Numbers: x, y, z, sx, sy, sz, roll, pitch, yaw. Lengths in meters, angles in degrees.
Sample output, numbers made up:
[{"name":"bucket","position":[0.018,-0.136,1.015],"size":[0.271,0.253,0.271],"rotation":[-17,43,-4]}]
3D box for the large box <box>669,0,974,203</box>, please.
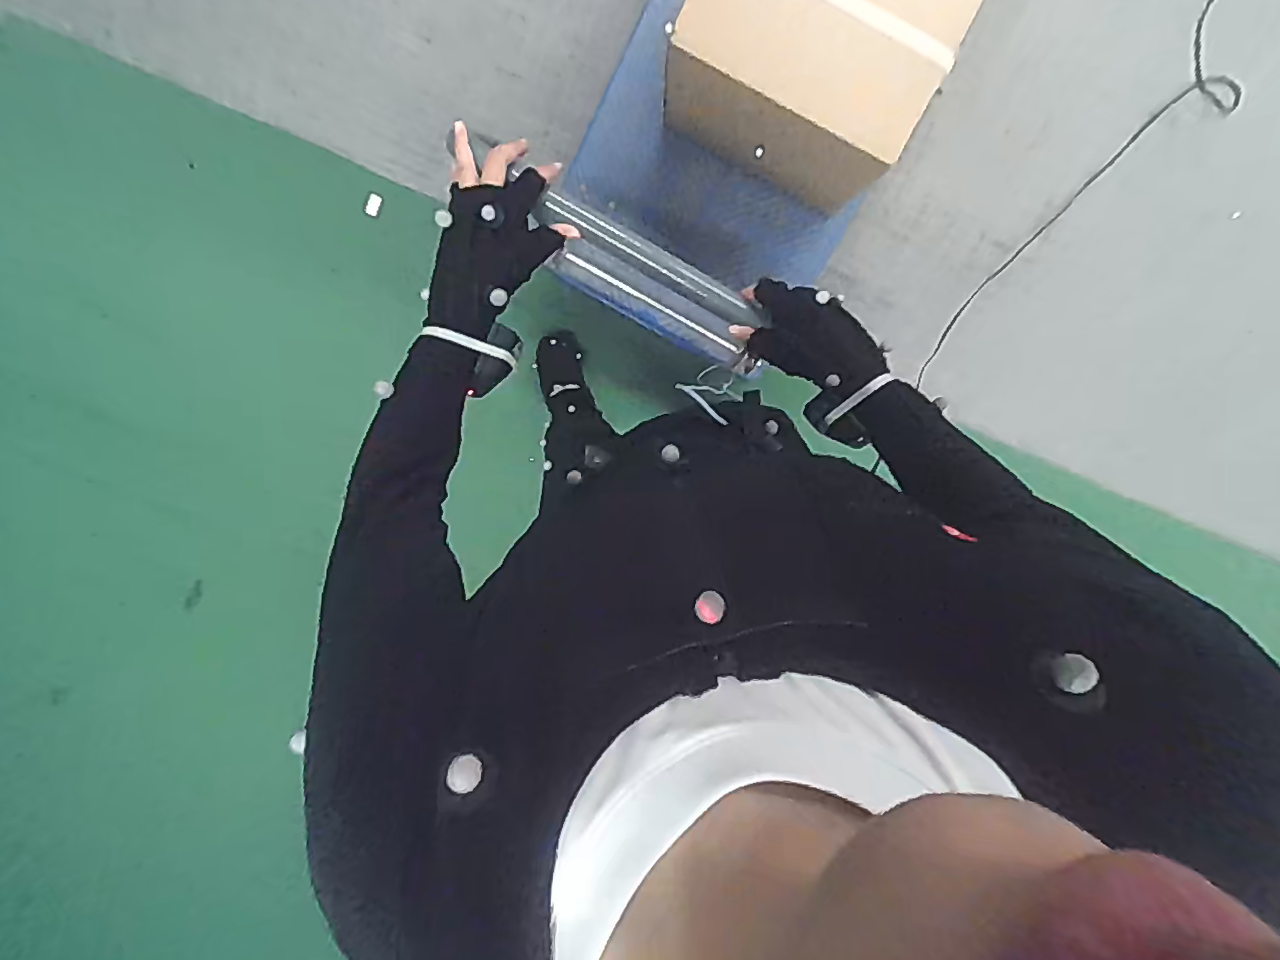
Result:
[{"name":"large box","position":[0.295,-0.761,0.956],"size":[0.408,0.320,0.320],"rotation":[25,102,-3]}]
